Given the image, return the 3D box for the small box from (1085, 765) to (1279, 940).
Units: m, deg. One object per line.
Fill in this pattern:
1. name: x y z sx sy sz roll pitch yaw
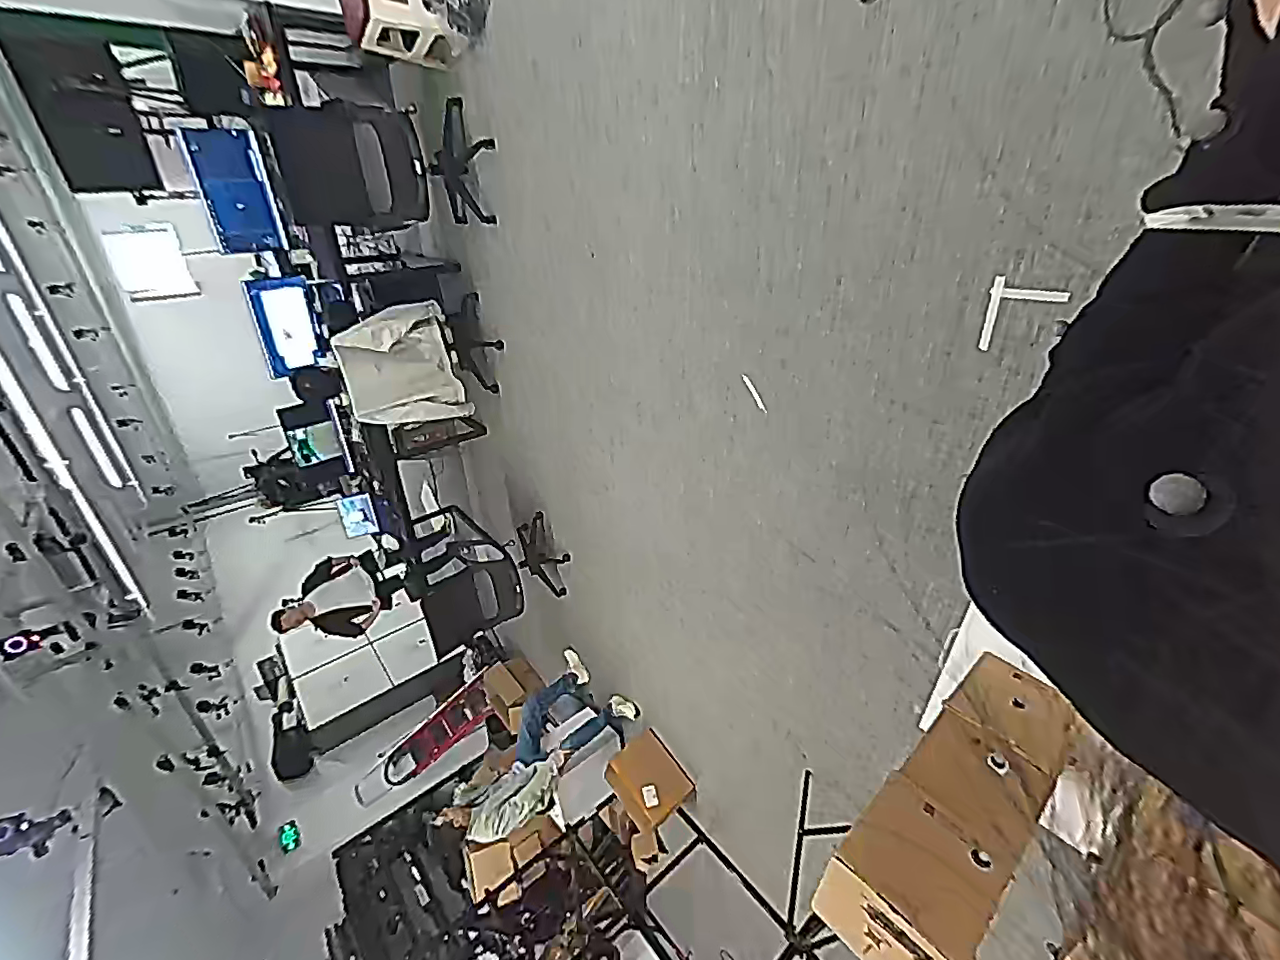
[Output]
1. small box: 0.776 0.553 0.757 0.168 0.176 0.179 28 130 43

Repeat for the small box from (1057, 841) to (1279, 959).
1. small box: 0.649 0.603 0.668 0.168 0.176 0.179 30 132 43

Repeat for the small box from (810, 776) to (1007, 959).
1. small box: 0.363 0.552 0.736 0.168 0.176 0.179 32 135 39

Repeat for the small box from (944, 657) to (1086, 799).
1. small box: 0.612 0.437 0.914 0.168 0.176 0.179 31 132 41

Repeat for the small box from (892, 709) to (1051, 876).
1. small box: 0.488 0.499 0.828 0.168 0.176 0.179 30 132 40
